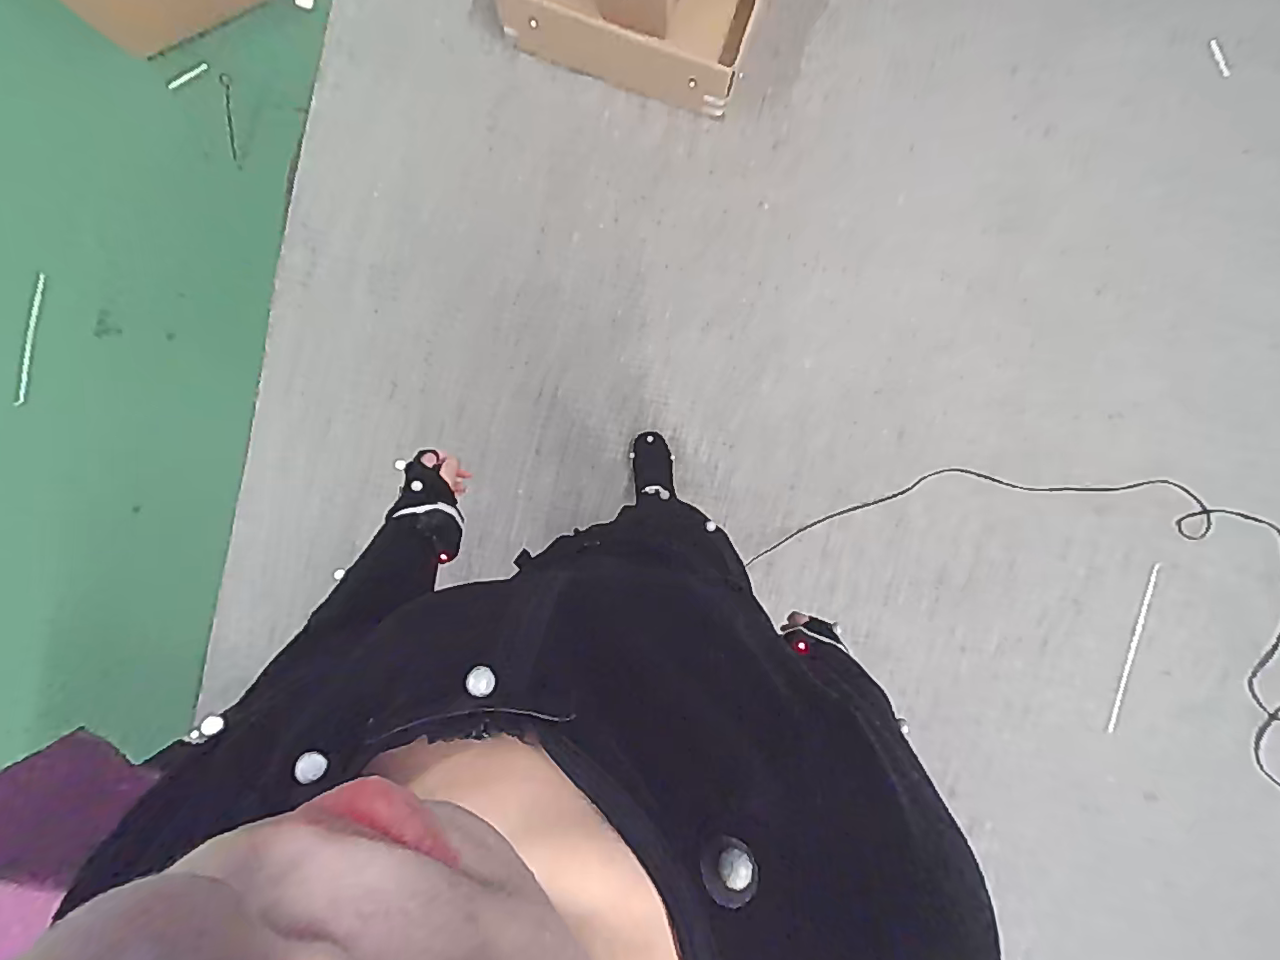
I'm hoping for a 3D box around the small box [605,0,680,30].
[{"bbox_3d":[0.013,-1.223,1.277,0.179,0.176,0.168,20,95,0],"label":"small box"}]
